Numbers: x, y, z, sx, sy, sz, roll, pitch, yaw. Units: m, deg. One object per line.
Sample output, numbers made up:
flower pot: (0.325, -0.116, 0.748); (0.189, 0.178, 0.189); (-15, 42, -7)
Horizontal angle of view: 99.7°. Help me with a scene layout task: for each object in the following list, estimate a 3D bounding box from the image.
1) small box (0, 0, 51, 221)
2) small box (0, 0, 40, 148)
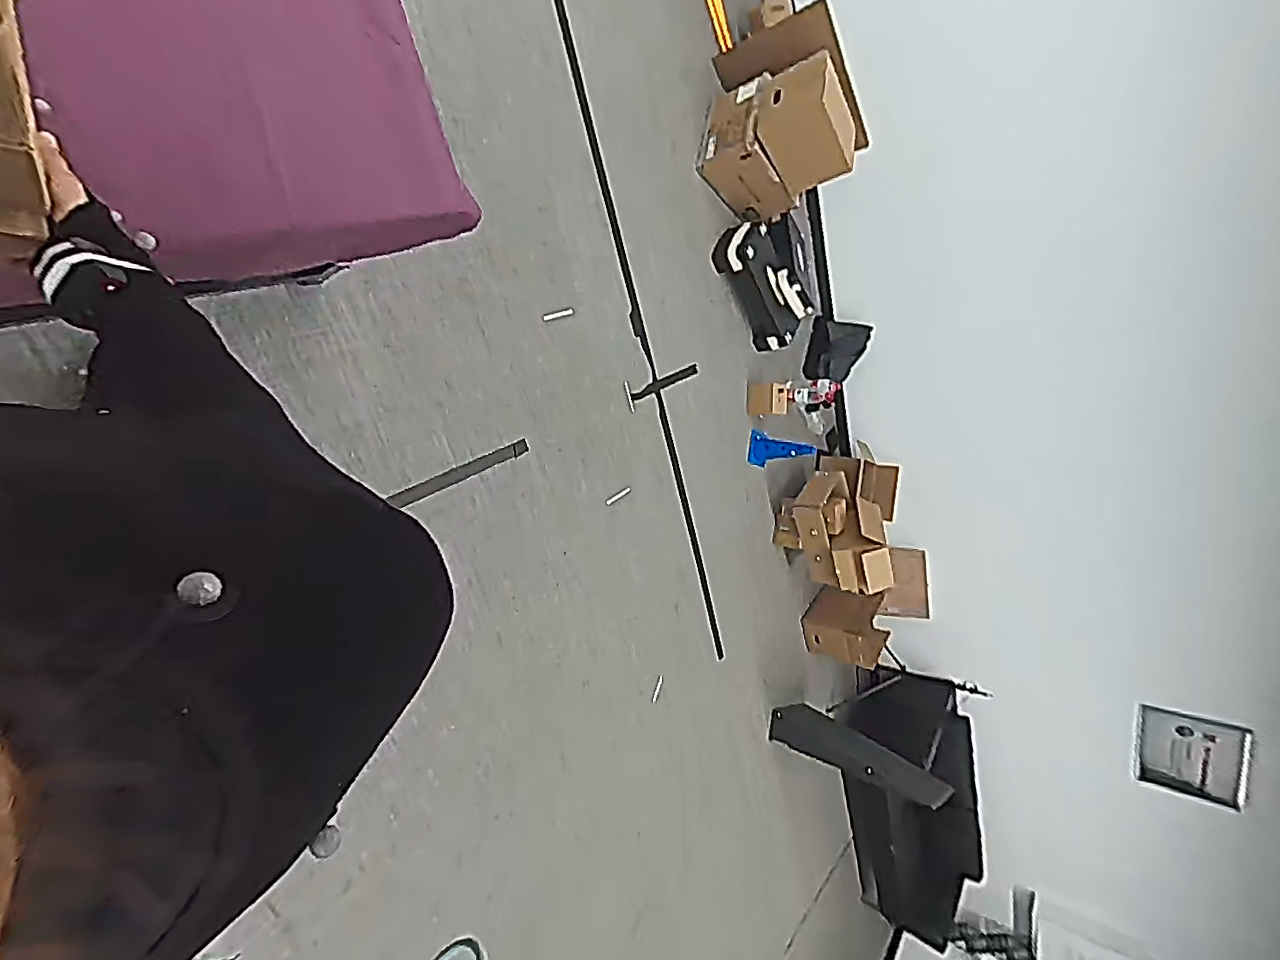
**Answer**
small box: (-0.515, -0.293, 0.348); (0.168, 0.176, 0.179); (-9, 101, -44)
small box: (-0.402, -0.277, 0.232); (0.168, 0.176, 0.179); (-13, 103, -44)
